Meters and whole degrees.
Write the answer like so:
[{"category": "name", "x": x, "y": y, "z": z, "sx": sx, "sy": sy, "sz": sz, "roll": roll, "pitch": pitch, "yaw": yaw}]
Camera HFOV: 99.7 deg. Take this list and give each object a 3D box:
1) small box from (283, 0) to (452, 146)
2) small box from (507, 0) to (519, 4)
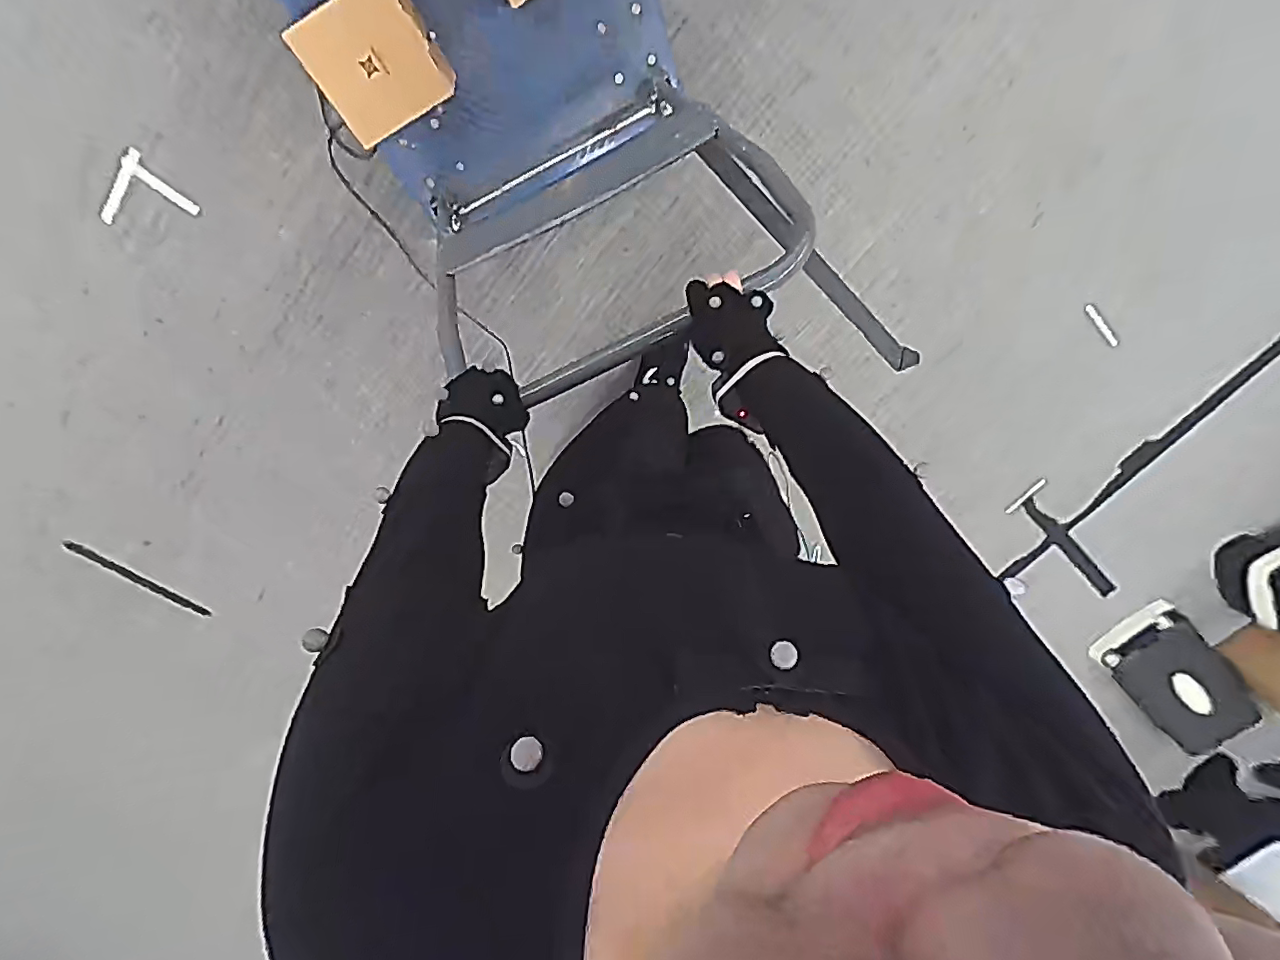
[{"category": "small box", "x": -0.423, "y": -0.683, "z": 0.876, "sx": 0.179, "sy": 0.176, "sz": 0.168, "roll": -28, "pitch": 134, "yaw": 7}, {"category": "small box", "x": -0.171, "y": -0.849, "z": 0.796, "sx": 0.179, "sy": 0.176, "sz": 0.168, "roll": -29, "pitch": 134, "yaw": 11}]
